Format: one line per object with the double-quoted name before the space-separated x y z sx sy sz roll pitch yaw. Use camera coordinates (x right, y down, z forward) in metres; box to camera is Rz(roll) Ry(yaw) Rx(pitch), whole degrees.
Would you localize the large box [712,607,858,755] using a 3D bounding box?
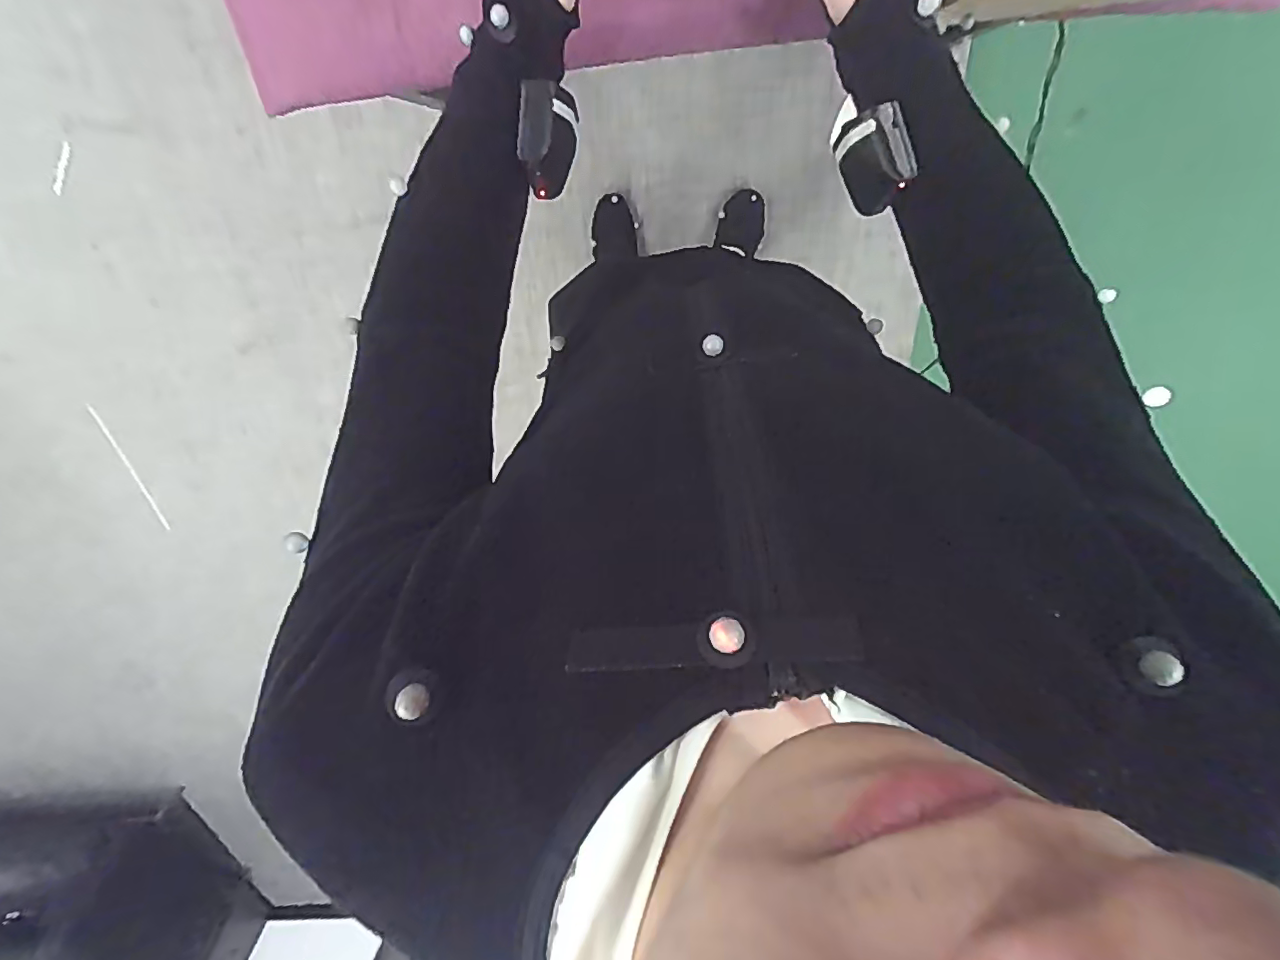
"large box" 0.535 0.765 2.066 0.408 0.320 0.320 -34 115 18
